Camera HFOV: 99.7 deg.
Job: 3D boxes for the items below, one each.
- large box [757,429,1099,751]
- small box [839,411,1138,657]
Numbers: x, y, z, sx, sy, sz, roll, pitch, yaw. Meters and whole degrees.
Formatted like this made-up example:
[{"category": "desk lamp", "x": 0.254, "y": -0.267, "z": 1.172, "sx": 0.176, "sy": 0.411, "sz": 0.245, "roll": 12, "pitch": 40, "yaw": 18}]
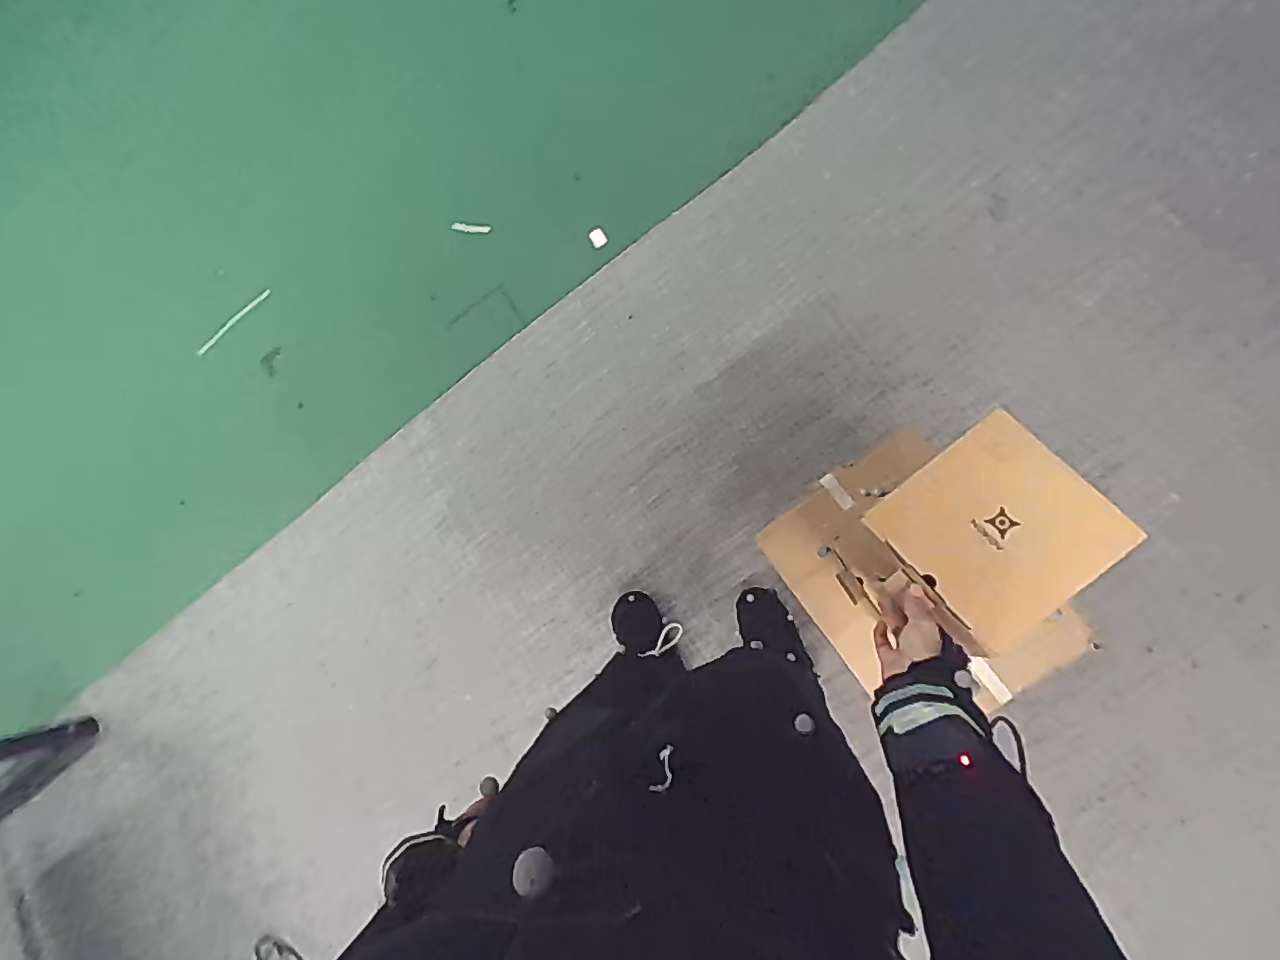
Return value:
[{"category": "large box", "x": 0.456, "y": 0.175, "z": 0.973, "sx": 0.320, "sy": 0.320, "sz": 0.408, "roll": -37, "pitch": 77, "yaw": 9}, {"category": "small box", "x": 0.339, "y": 0.063, "z": 0.573, "sx": 0.179, "sy": 0.176, "sz": 0.168, "roll": -39, "pitch": 72, "yaw": -1}]
